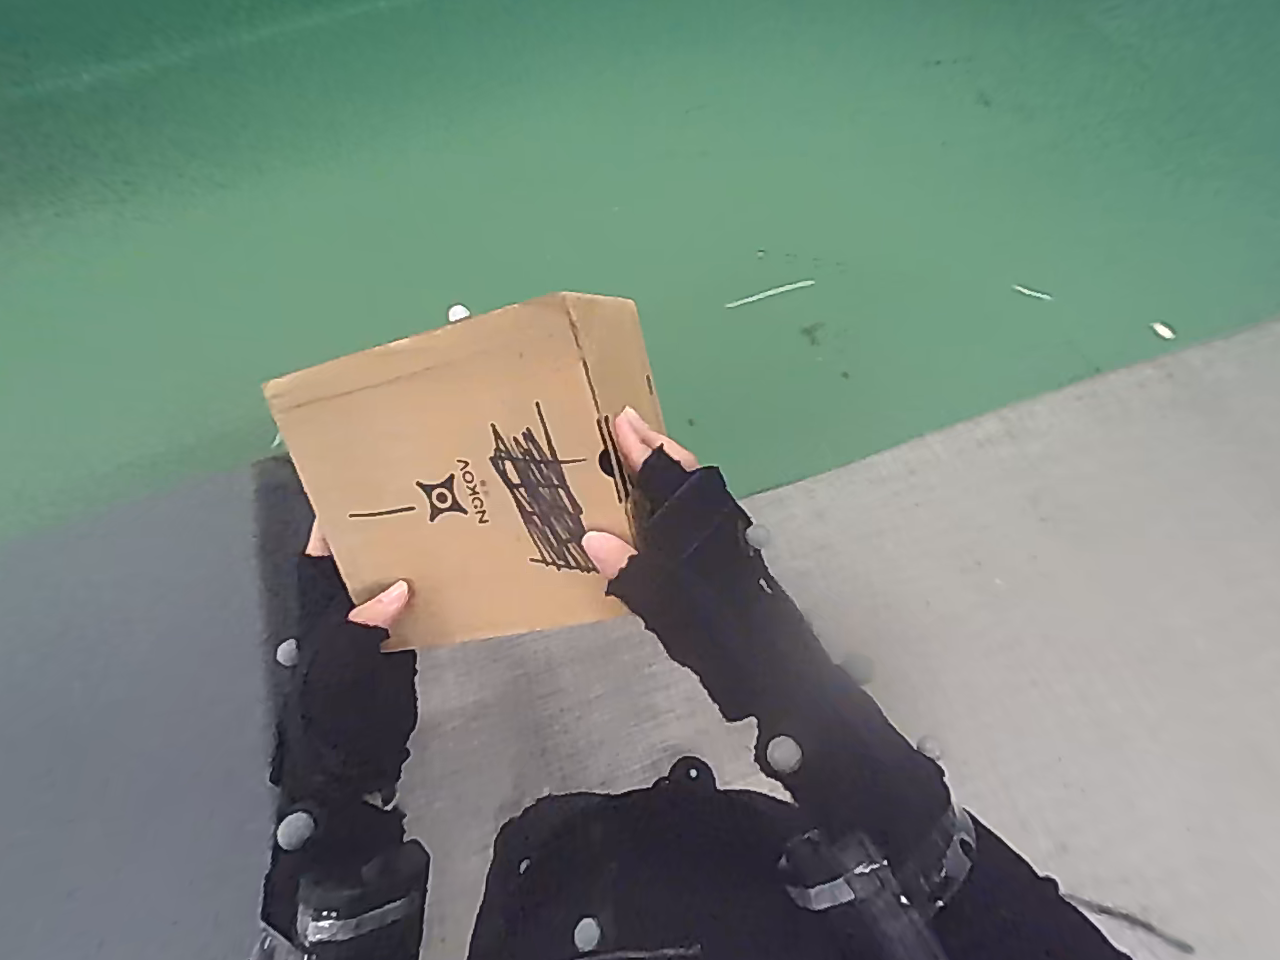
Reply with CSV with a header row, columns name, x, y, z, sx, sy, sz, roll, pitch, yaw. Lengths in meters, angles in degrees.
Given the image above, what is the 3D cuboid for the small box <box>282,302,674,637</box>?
name,x,y,z,sx,sy,sz,roll,pitch,yaw
small box,-0.077,-0.016,0.360,0.179,0.176,0.168,-8,103,14
